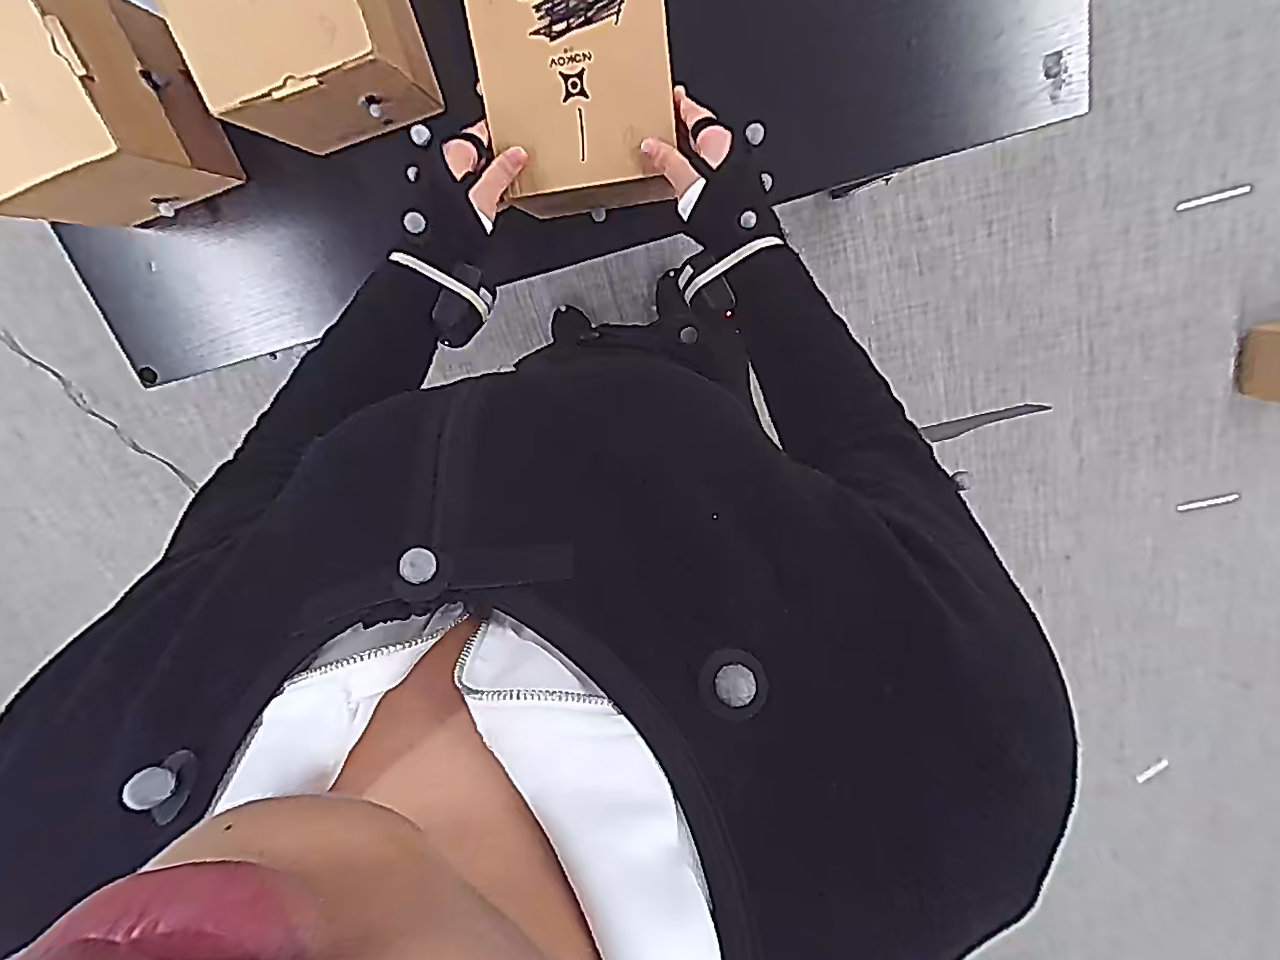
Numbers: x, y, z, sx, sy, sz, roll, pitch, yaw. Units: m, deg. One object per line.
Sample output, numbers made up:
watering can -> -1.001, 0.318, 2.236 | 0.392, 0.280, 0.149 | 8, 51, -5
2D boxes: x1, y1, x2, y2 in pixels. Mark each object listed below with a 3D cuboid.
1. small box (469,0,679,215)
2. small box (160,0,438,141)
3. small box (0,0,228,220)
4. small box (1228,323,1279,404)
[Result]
small box -> -0.053, -0.376, 0.536 | 0.168, 0.176, 0.179 | -6, 111, 4
small box -> -0.322, -0.452, 0.518 | 0.168, 0.176, 0.179 | -15, 109, 6
small box -> -0.573, -0.382, 0.549 | 0.179, 0.176, 0.168 | -16, 109, 6
small box -> 1.588, -0.286, 1.302 | 0.168, 0.176, 0.179 | -13, 110, 7
